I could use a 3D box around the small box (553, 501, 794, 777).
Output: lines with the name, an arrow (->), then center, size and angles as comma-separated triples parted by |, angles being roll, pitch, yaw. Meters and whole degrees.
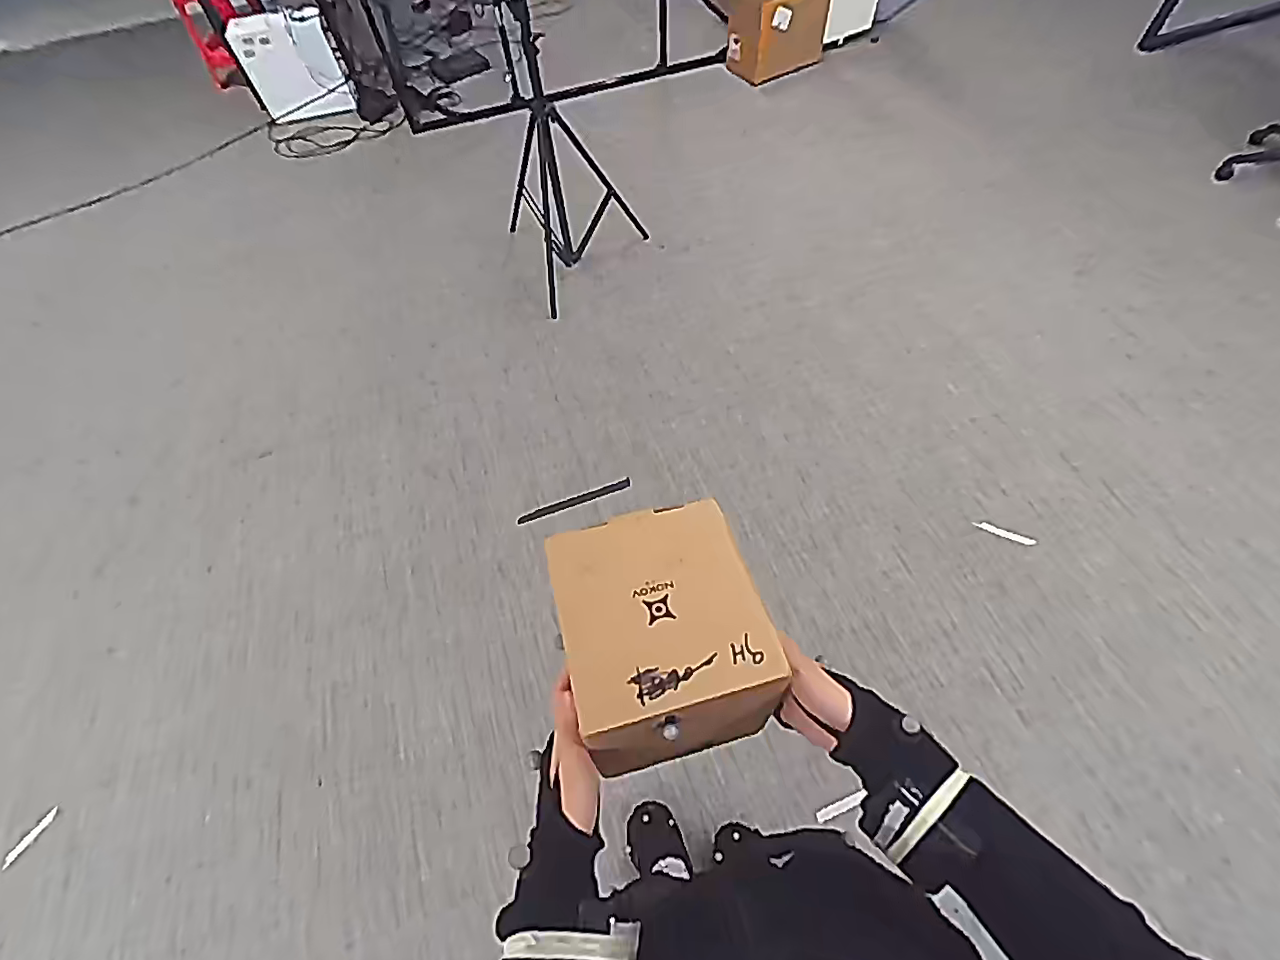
small box -> 0.020, 0.150, 0.510 | 0.168, 0.176, 0.179 | -13, 52, -8
